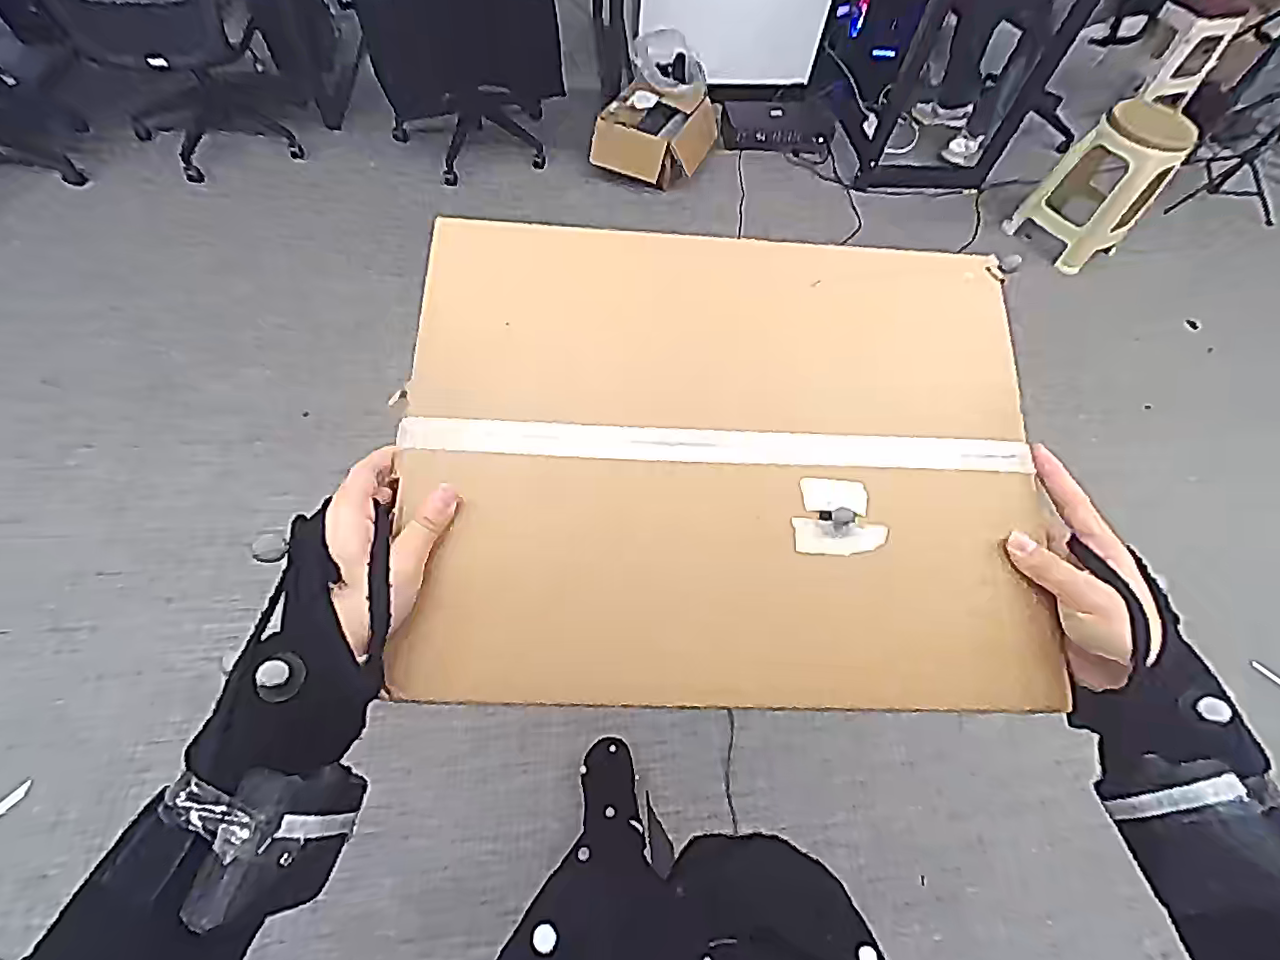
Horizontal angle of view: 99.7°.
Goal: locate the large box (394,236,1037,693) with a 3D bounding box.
[{"bbox_3d":[0.042,0.014,0.505,0.408,0.320,0.320,2,76,-4],"label":"large box"}]
